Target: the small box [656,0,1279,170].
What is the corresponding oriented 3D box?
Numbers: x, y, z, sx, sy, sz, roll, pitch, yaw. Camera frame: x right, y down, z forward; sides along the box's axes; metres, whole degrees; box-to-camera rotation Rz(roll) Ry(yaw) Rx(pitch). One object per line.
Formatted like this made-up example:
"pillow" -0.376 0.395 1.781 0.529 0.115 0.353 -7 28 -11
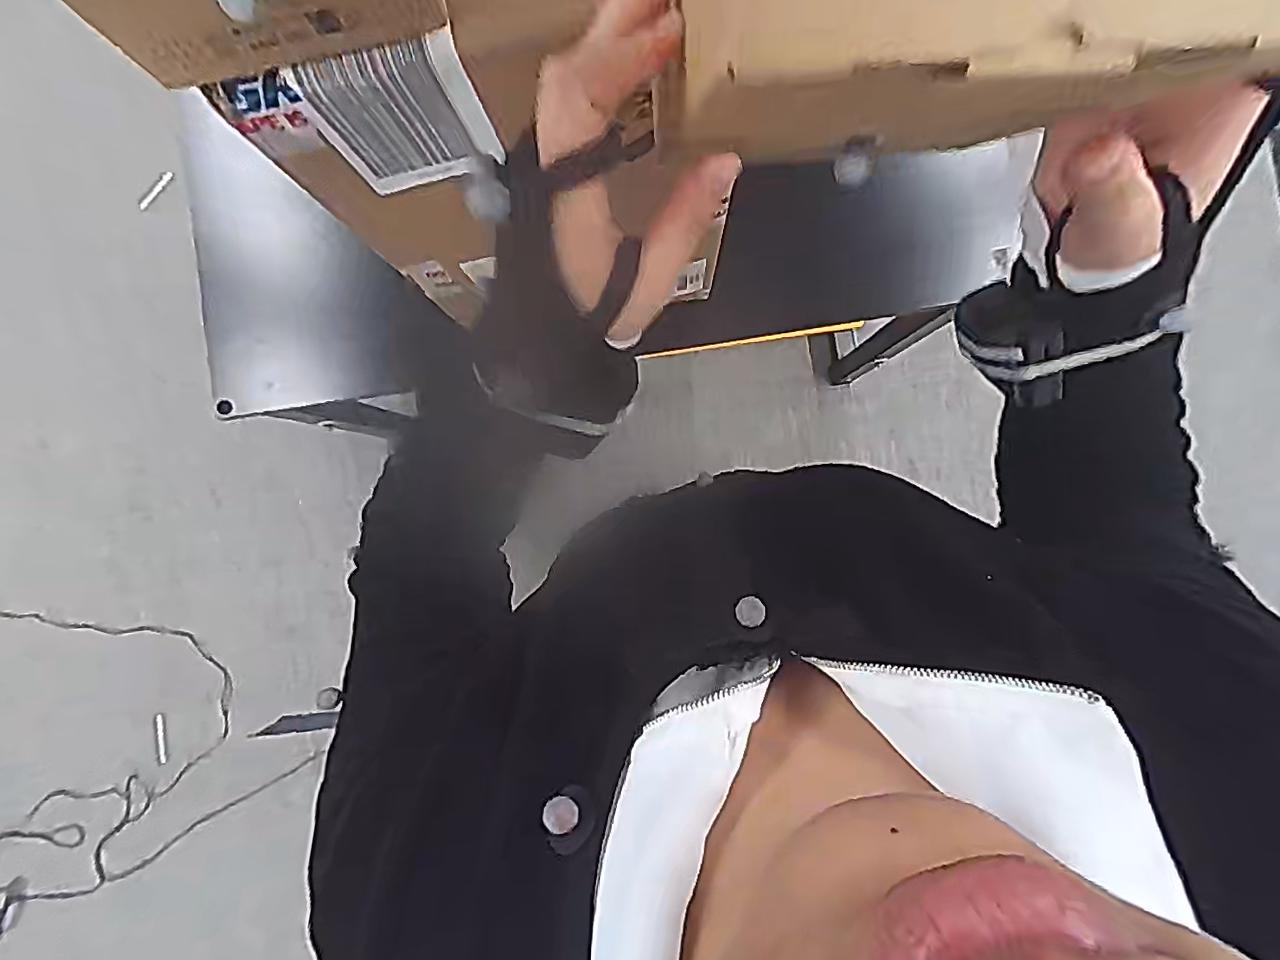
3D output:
"small box" 0.092 -0.215 0.177 0.168 0.176 0.179 -4 114 -2
